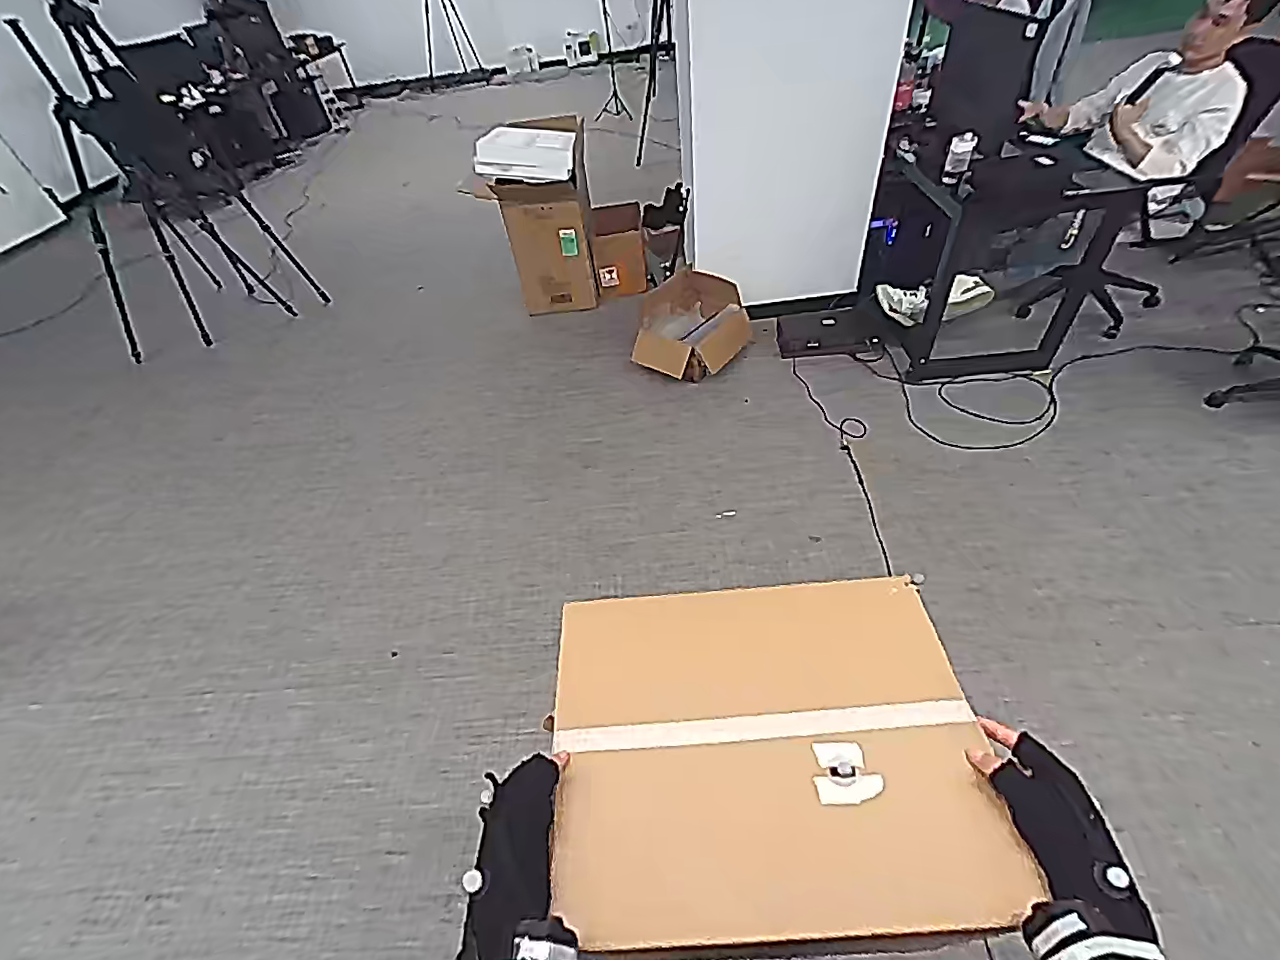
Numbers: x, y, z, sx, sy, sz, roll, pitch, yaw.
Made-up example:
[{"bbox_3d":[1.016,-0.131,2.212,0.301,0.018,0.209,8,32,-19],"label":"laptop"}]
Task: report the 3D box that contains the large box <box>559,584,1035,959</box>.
[{"bbox_3d":[0.131,0.356,0.652,0.408,0.320,0.320,-5,47,2],"label":"large box"}]
